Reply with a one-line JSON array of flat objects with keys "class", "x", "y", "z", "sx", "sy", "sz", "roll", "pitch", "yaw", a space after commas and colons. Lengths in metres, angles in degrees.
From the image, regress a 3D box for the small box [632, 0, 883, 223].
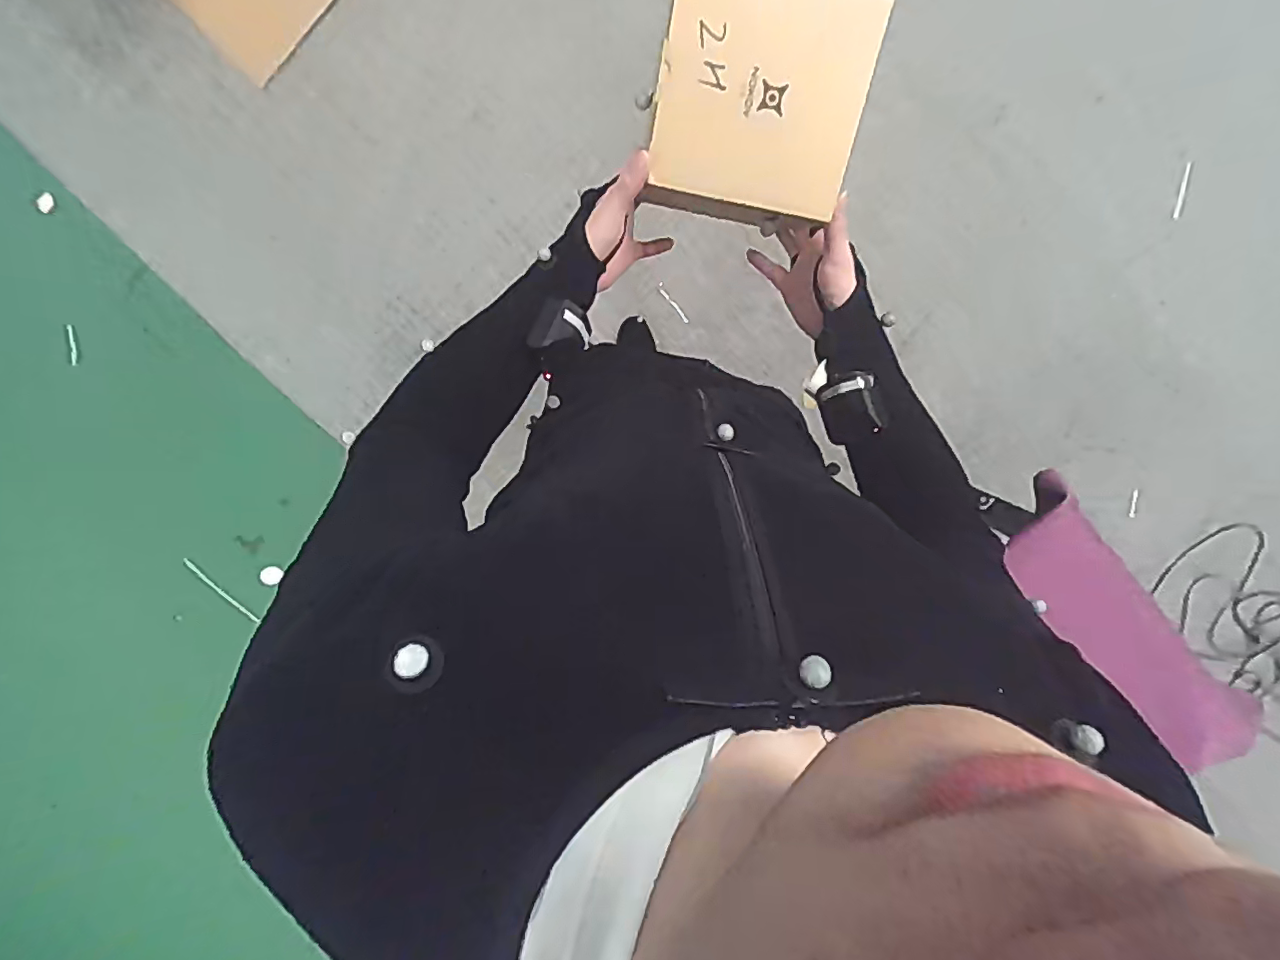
[{"class": "small box", "x": 0.092, "y": -0.354, "z": 0.524, "sx": 0.179, "sy": 0.176, "sz": 0.168, "roll": 9, "pitch": 111, "yaw": -5}]
